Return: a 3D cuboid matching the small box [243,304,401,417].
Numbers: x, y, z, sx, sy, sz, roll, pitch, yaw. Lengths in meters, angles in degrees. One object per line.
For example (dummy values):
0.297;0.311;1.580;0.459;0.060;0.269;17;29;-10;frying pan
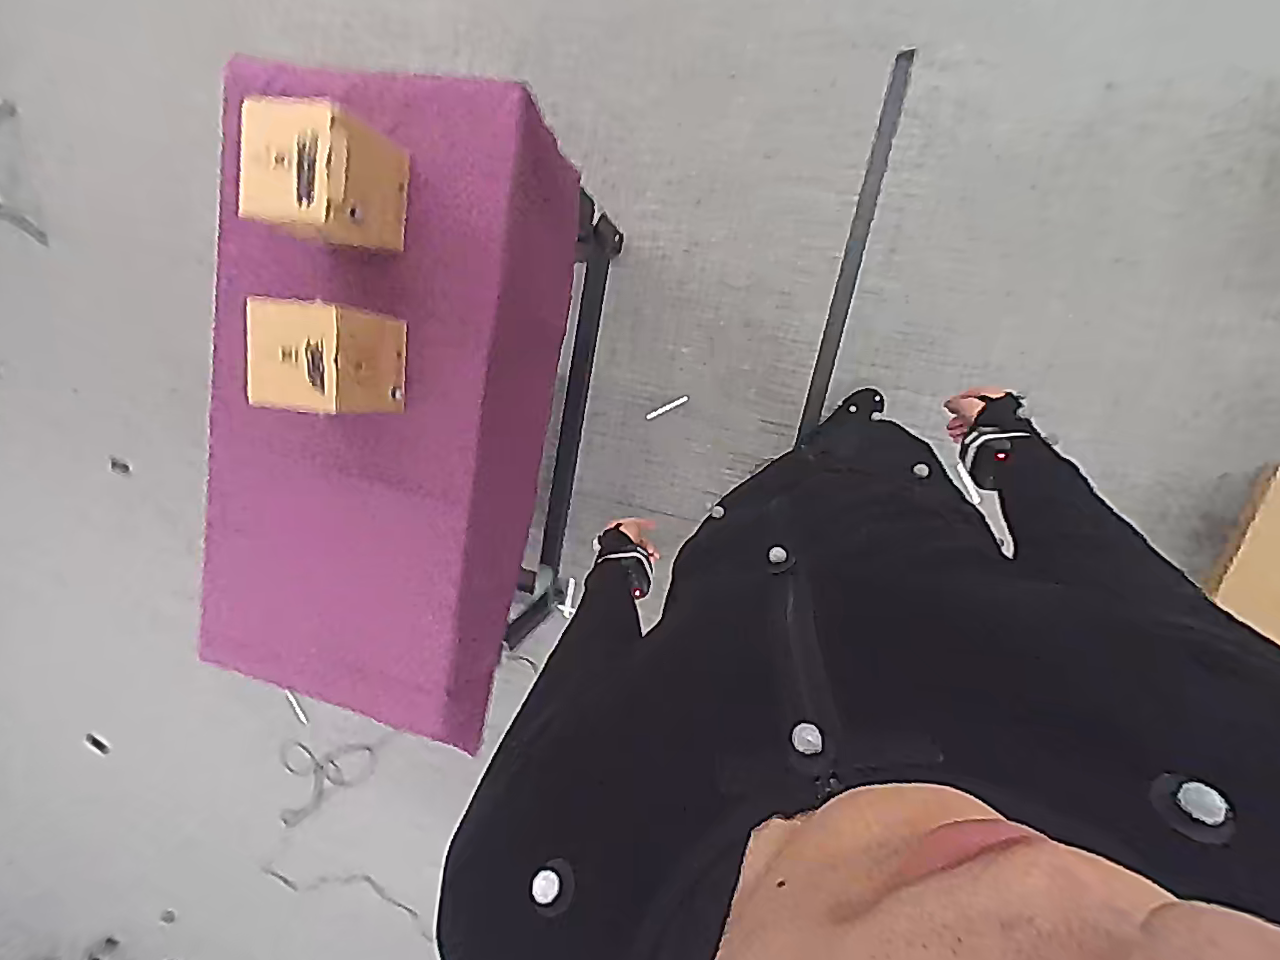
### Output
-0.539;-0.201;0.935;0.179;0.176;0.168;7;99;13;small box
